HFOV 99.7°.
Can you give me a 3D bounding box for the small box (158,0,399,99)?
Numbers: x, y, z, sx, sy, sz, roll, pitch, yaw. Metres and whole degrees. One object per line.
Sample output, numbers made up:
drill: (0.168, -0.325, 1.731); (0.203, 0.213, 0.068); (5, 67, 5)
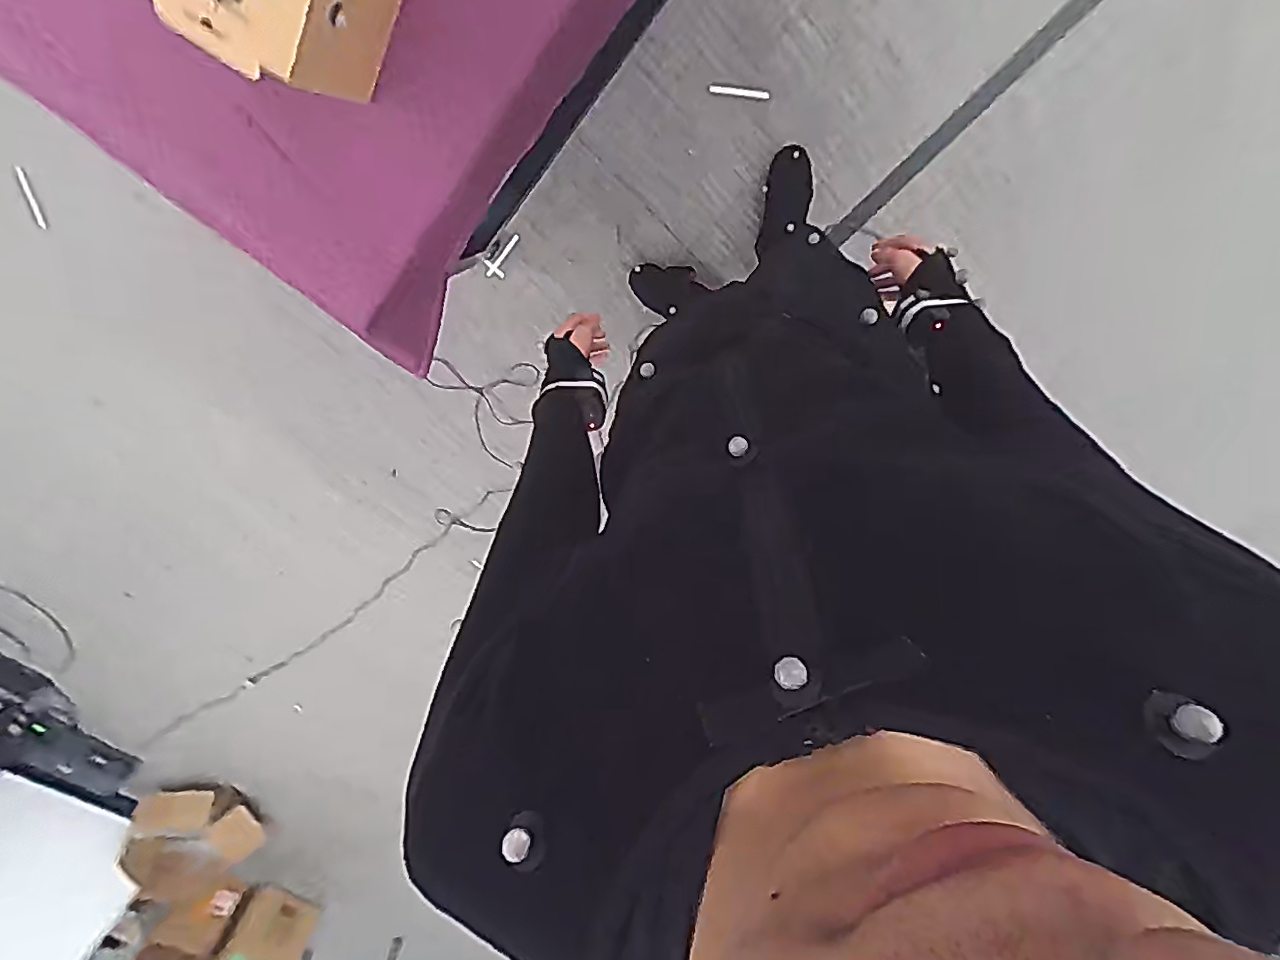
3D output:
small box: (-0.373, -0.537, 0.560); (0.168, 0.176, 0.179); (30, 115, -13)
